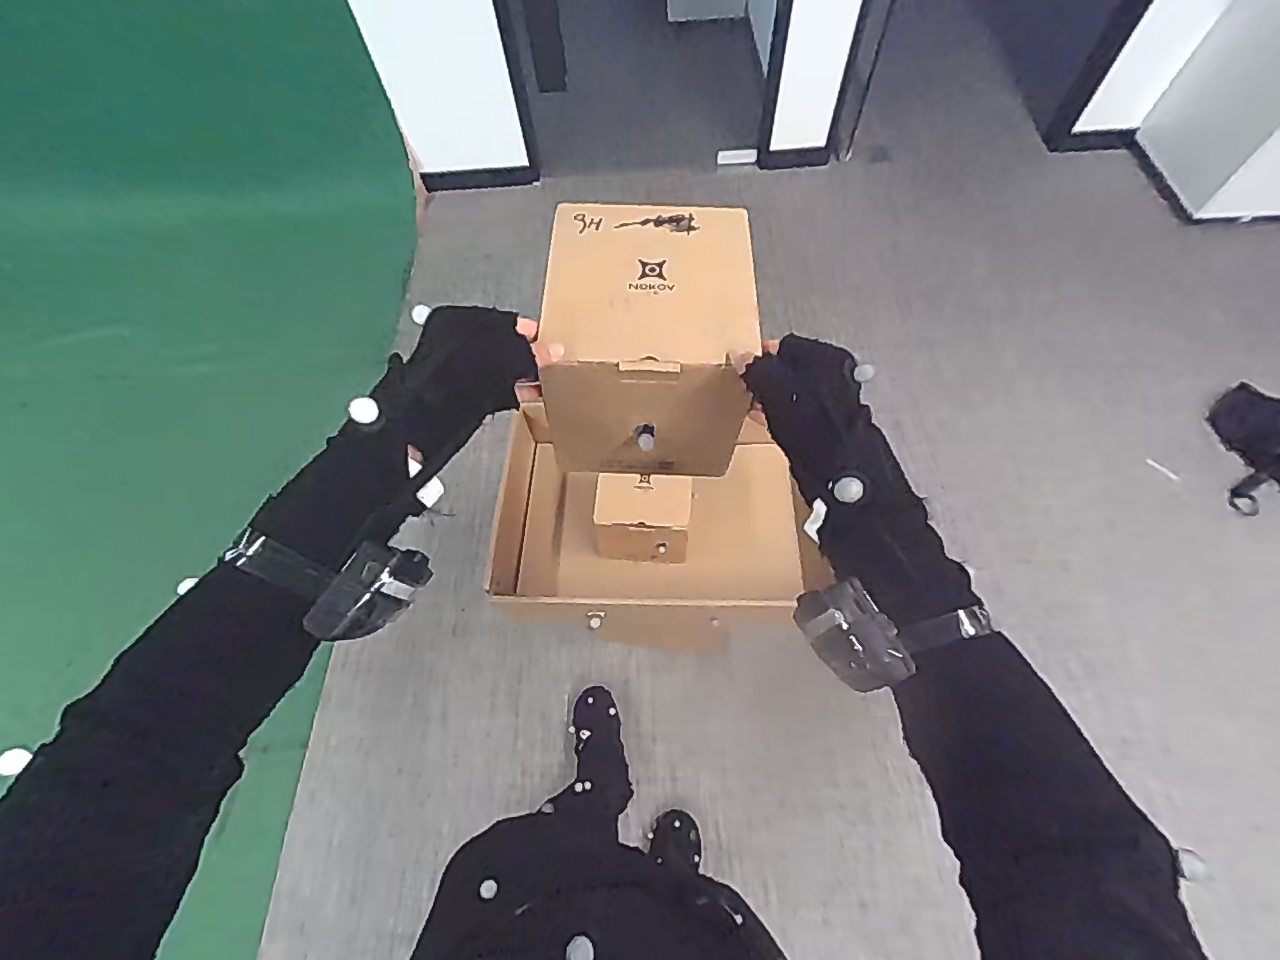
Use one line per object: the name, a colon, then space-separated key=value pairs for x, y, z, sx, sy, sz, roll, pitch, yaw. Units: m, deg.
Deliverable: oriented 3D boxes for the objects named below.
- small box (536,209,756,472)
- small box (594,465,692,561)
small box: x=0.007 y=-0.119 z=0.501 sx=0.168 sy=0.176 sz=0.179 roll=2 pitch=63 yaw=0
small box: x=0.010 y=0.042 z=1.012 sx=0.168 sy=0.176 sz=0.179 roll=3 pitch=60 yaw=2
